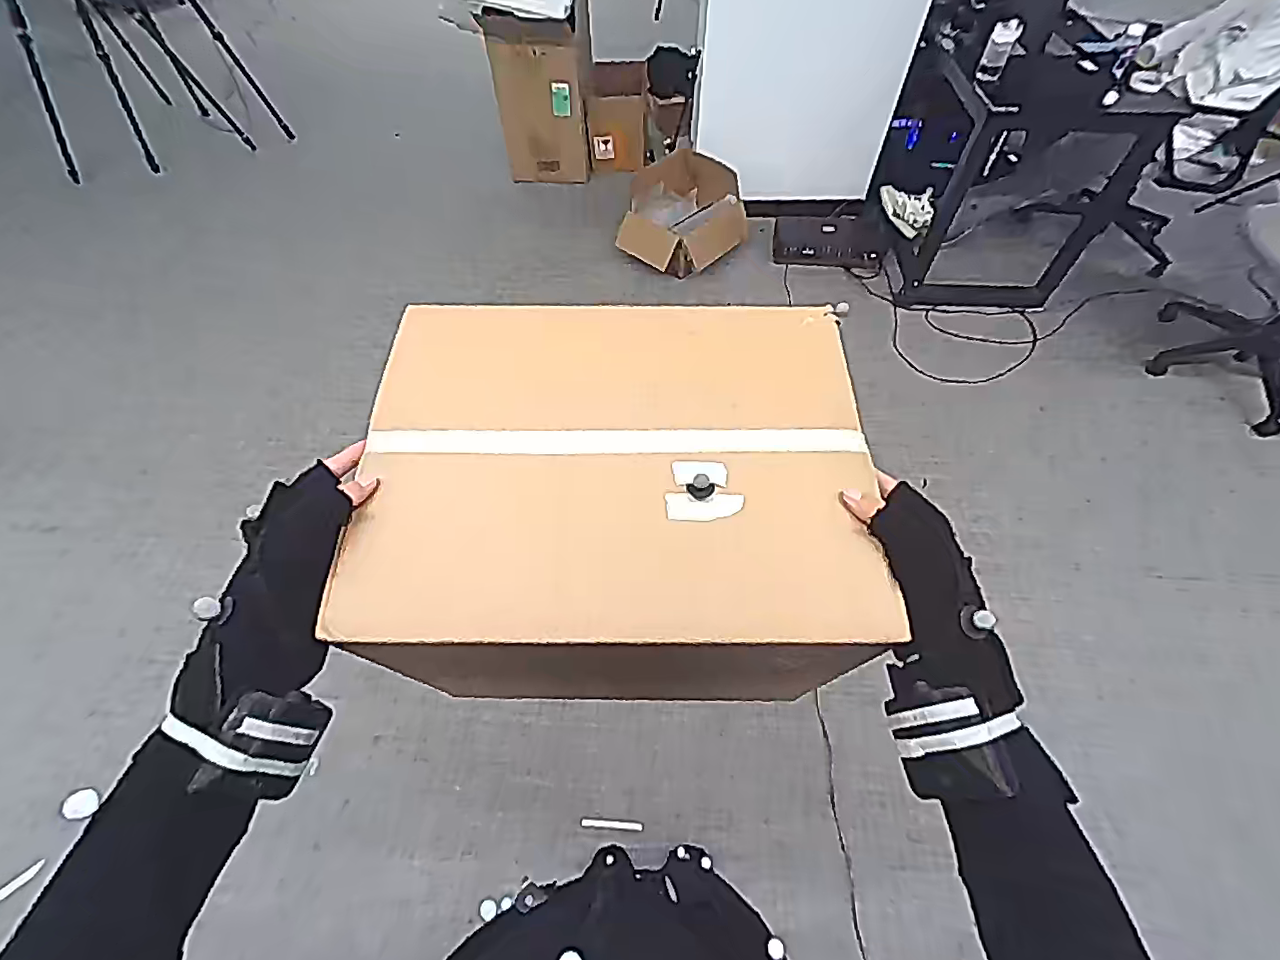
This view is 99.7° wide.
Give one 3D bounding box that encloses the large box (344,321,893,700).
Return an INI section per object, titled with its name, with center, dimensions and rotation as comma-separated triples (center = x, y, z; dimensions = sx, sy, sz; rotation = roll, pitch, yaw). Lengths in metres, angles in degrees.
[large box]
center = -0.018, 0.050, 0.587
dimensions = 0.408, 0.320, 0.320
rotation = 0, 61, 0
